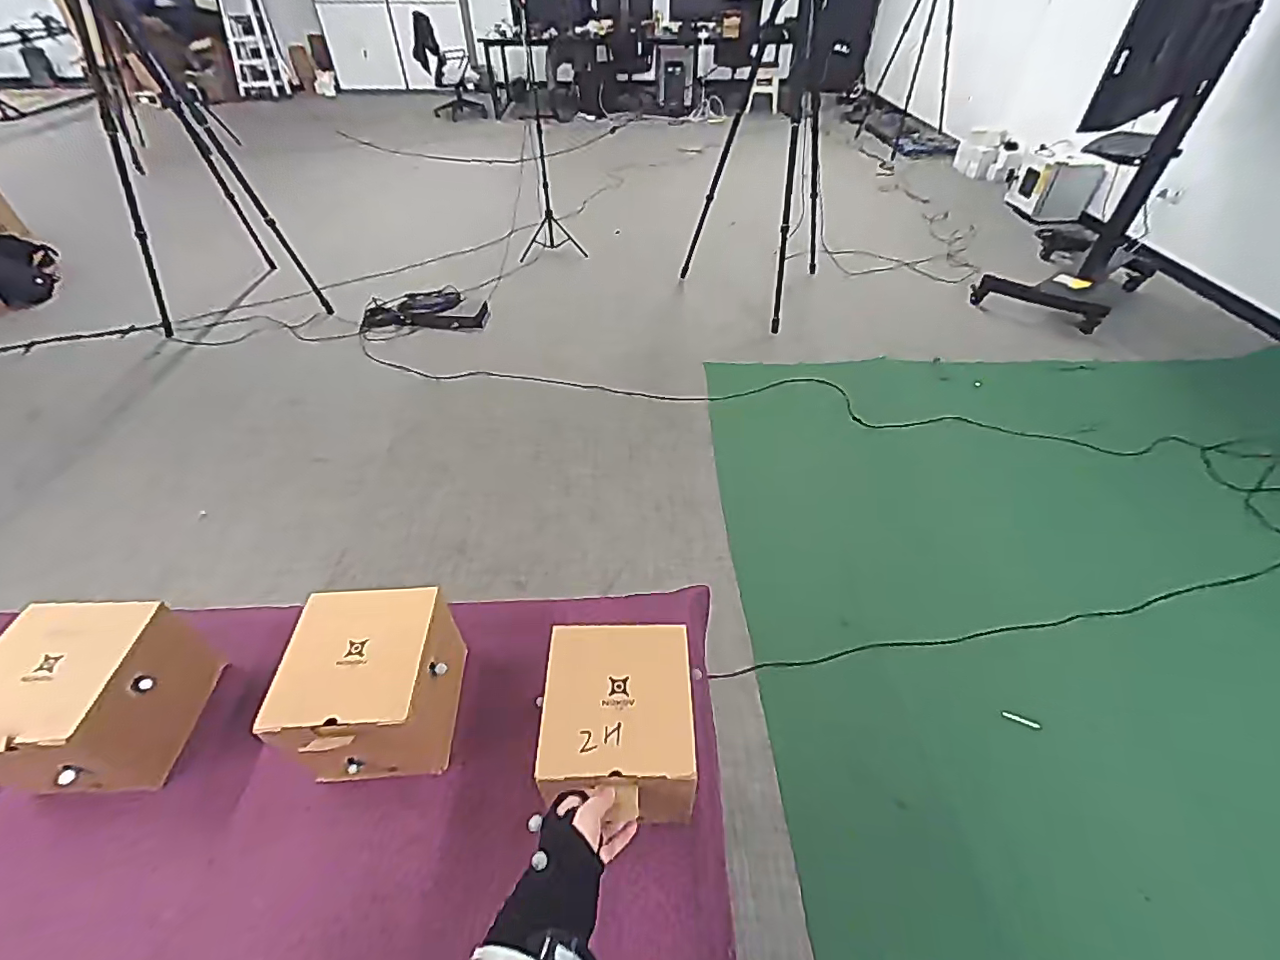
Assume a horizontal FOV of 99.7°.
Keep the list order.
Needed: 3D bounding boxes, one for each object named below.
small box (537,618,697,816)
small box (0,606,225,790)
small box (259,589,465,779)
[{"bbox_3d":[-0.022,0.289,0.663,0.168,0.176,0.179,-1,45,1],"label":"small box"},{"bbox_3d":[-0.685,0.280,0.688,0.168,0.176,0.179,-1,45,-1],"label":"small box"},{"bbox_3d":[-0.336,0.263,0.700,0.168,0.176,0.179,-3,46,-2],"label":"small box"}]
